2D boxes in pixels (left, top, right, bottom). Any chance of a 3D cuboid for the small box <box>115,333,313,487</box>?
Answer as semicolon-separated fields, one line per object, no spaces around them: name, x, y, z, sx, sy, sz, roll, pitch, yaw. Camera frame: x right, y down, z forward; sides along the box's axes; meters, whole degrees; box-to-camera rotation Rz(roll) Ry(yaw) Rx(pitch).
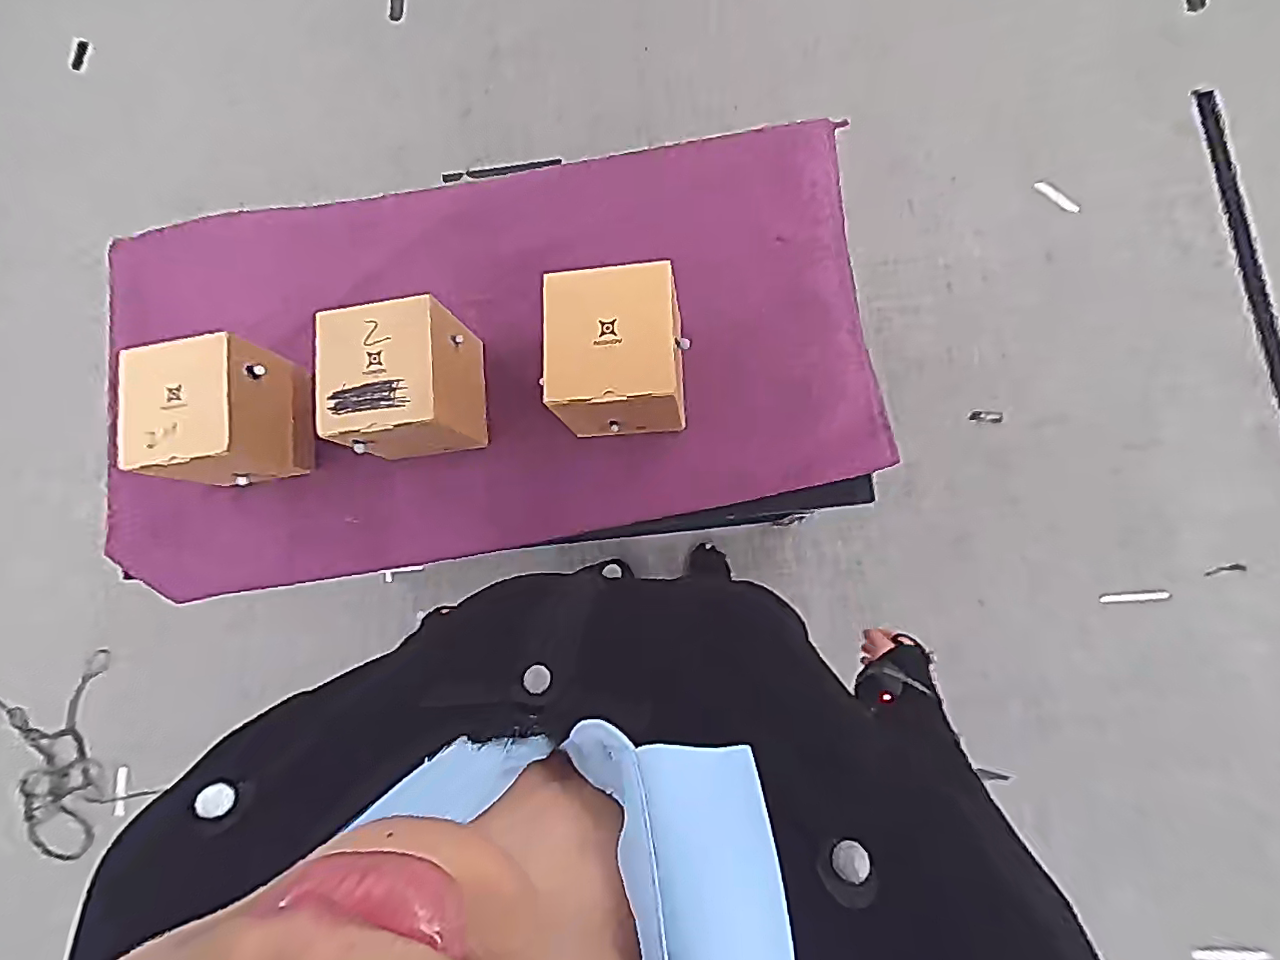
small box;-0.620;-0.094;0.806;0.168;0.176;0.179;-9;81;5

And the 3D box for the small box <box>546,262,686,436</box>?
small box;-0.025;-0.168;0.740;0.168;0.176;0.179;-3;81;7
